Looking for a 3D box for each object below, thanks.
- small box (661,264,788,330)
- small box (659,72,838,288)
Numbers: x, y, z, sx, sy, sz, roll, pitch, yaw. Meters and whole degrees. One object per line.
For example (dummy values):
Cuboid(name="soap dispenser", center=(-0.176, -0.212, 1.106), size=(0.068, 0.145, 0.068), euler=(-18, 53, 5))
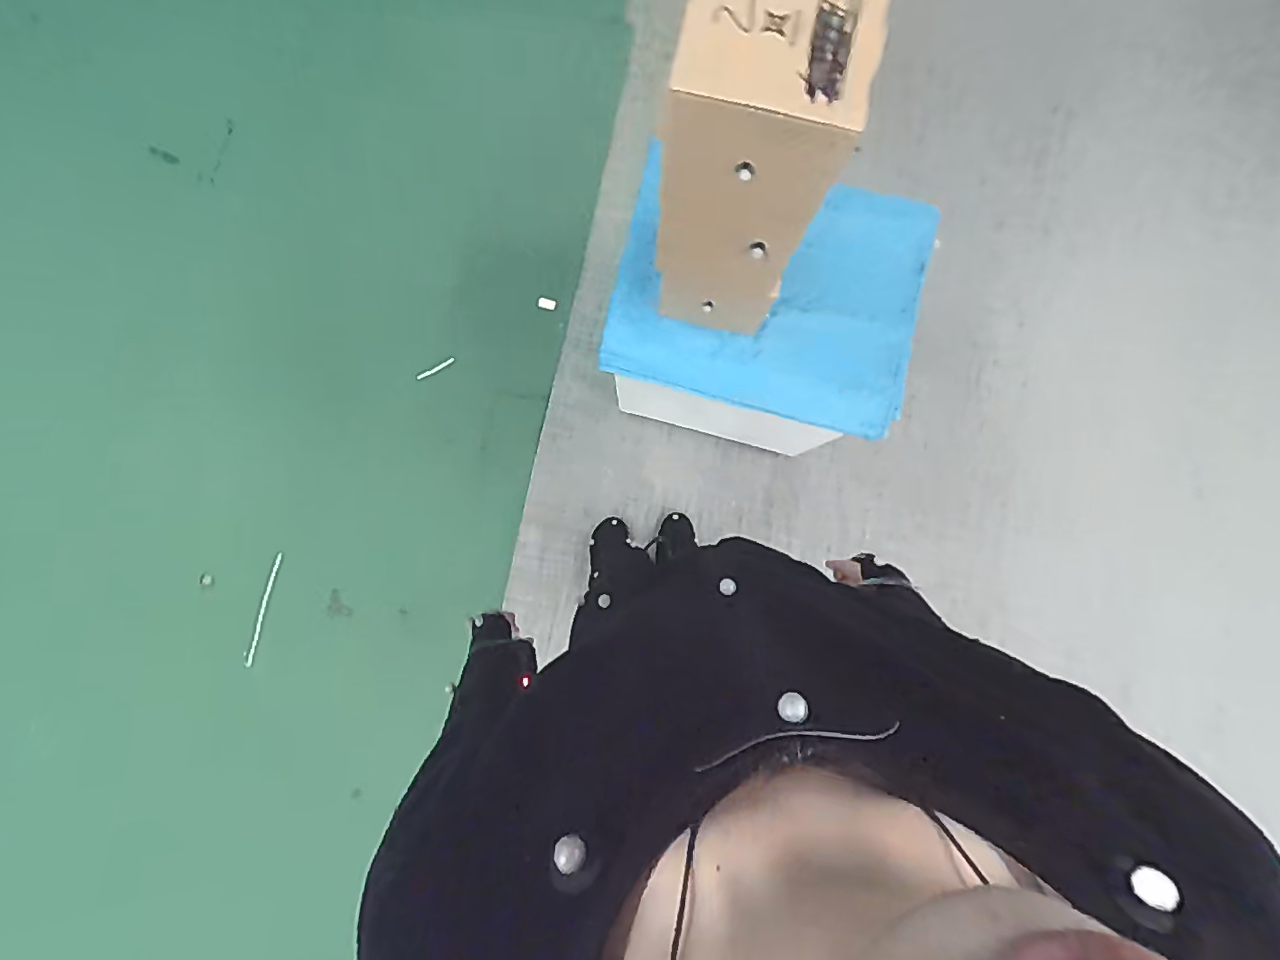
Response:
Cuboid(name="small box", center=(0.137, -0.359, 0.871), size=(0.179, 0.176, 0.168), euler=(13, 85, 1))
Cuboid(name="small box", center=(0.129, -0.374, 0.707), size=(0.179, 0.176, 0.168), euler=(14, 84, 1))
